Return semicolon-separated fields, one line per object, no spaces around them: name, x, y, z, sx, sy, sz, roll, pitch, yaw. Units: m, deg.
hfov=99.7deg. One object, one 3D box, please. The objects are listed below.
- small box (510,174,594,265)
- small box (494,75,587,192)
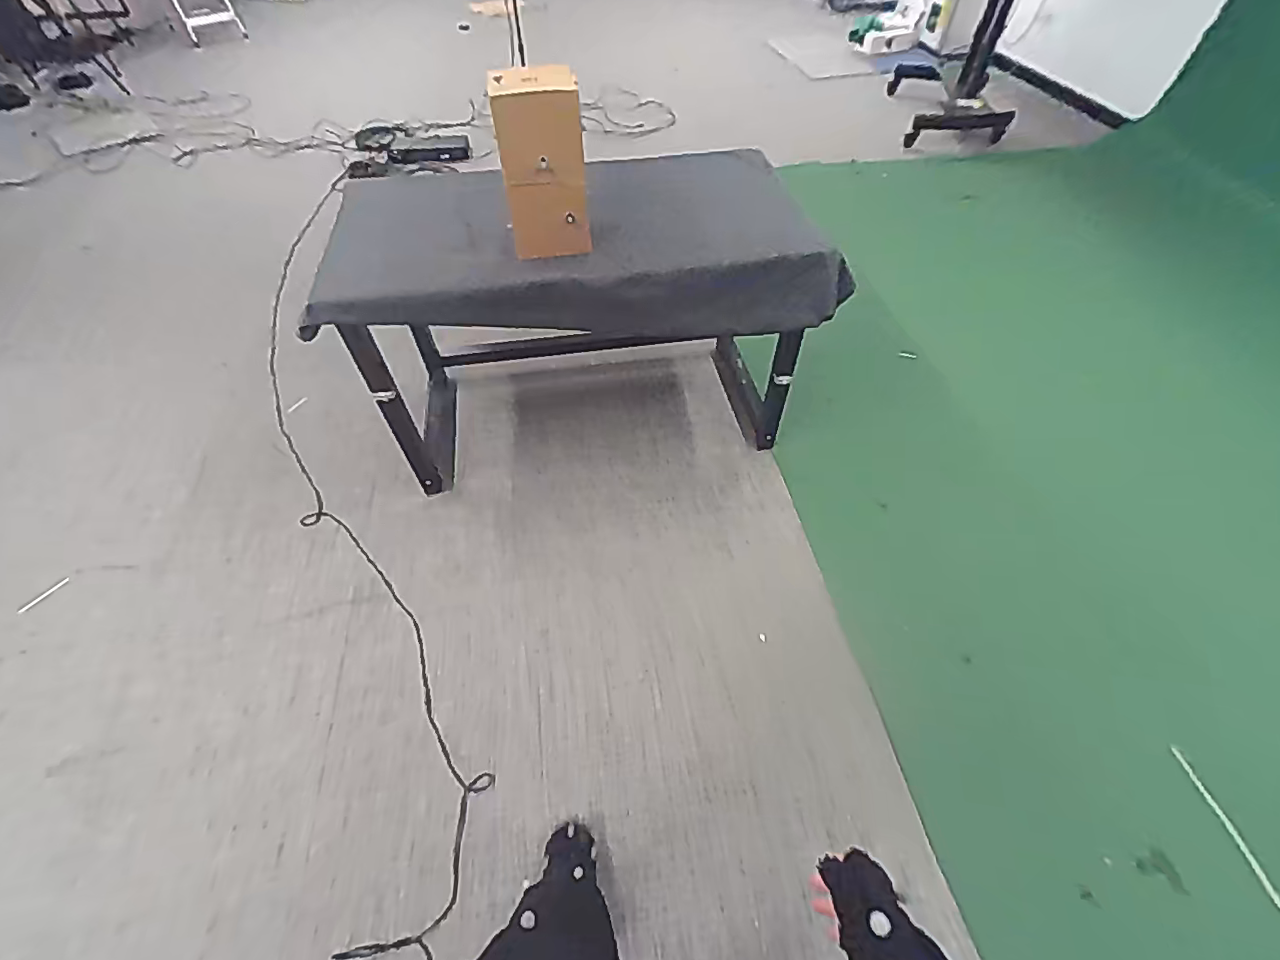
small box;-0.205;-0.631;1.279;0.179;0.176;0.168;-9;50;-5
small box;-0.209;-0.739;1.155;0.179;0.176;0.168;-8;50;-7
